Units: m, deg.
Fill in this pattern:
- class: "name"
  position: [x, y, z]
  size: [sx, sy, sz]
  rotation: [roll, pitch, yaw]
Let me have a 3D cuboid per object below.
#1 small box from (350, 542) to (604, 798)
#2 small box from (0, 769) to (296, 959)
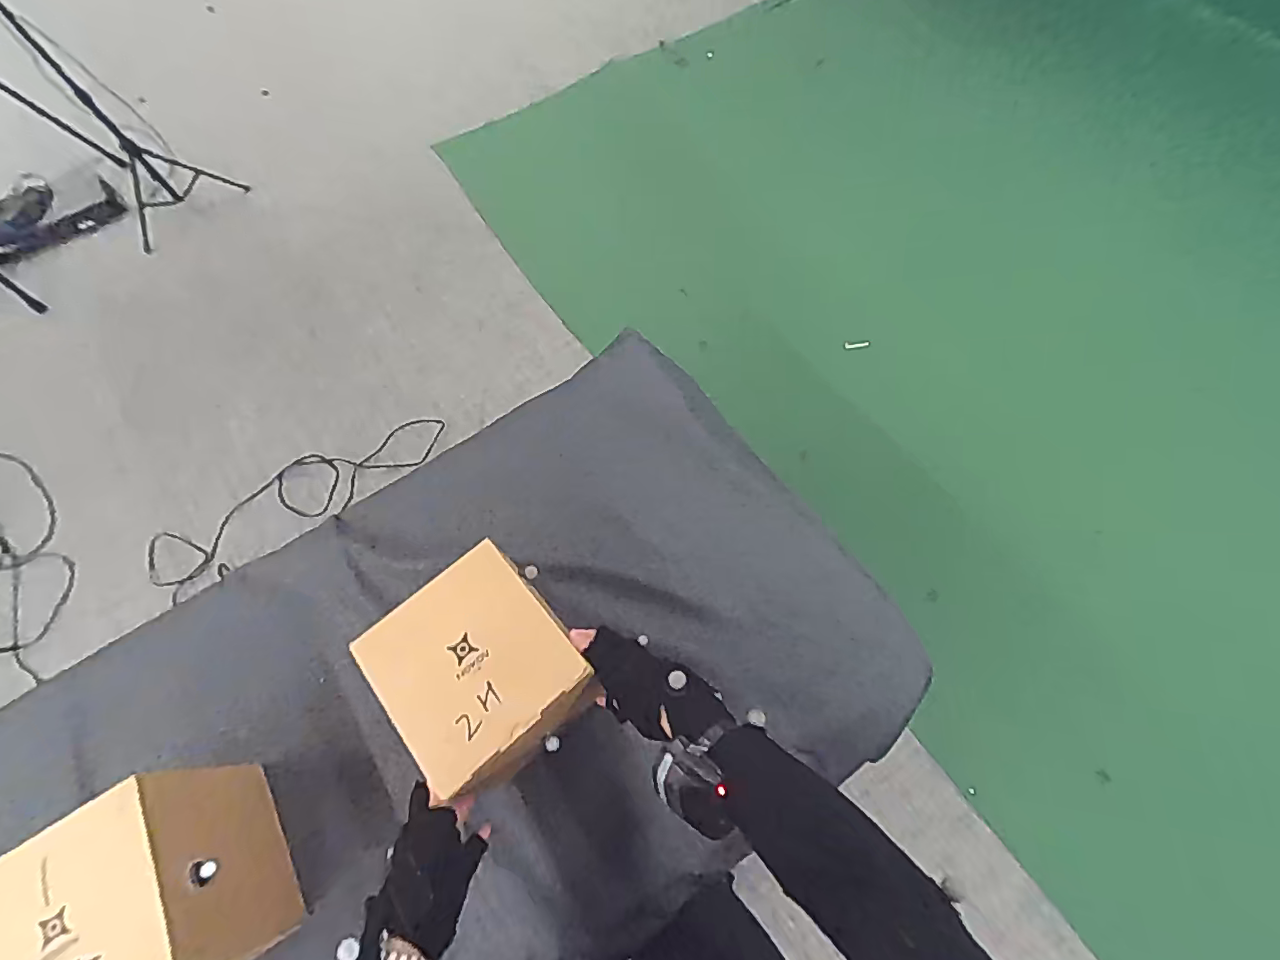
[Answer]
- class: "small box"
  position: [-0.159, 0.203, 0.577]
  size: [0.168, 0.176, 0.179]
  rotation: [-39, 67, -14]
- class: "small box"
  position: [-0.467, 0.401, 0.507]
  size: [0.168, 0.176, 0.179]
  rotation: [-32, 67, -11]
